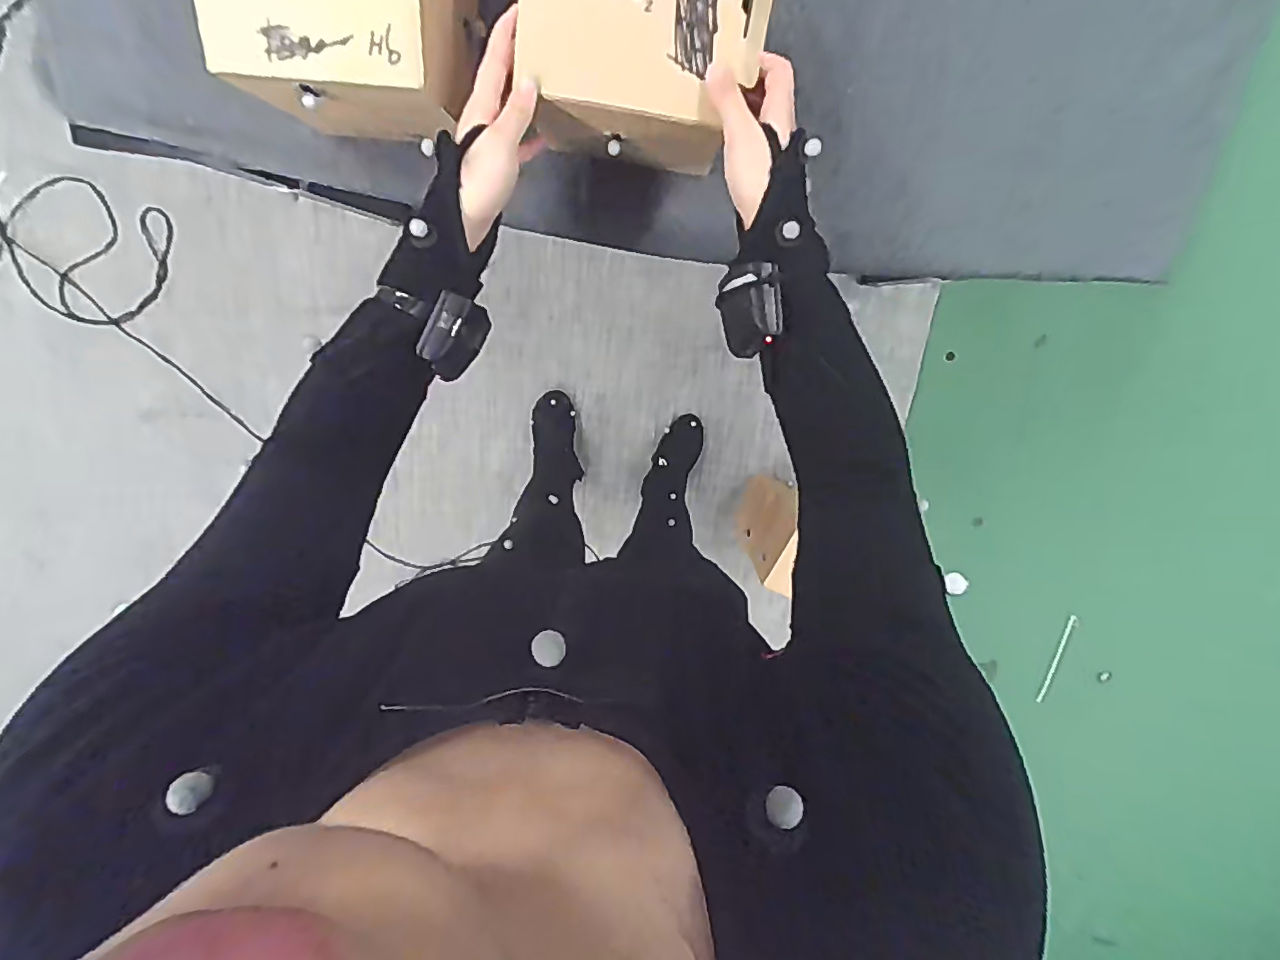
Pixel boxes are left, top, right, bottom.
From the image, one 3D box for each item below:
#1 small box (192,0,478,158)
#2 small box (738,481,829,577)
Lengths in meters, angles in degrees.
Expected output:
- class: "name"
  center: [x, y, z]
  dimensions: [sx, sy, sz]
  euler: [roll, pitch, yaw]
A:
- class: "small box"
  center: [-0.245, -0.406, 0.467]
  dimensions: [0.168, 0.176, 0.179]
  euler: [5, 107, -1]
- class: "small box"
  center: [0.363, 0.123, 1.410]
  dimensions: [0.168, 0.176, 0.179]
  euler: [14, 107, -5]
